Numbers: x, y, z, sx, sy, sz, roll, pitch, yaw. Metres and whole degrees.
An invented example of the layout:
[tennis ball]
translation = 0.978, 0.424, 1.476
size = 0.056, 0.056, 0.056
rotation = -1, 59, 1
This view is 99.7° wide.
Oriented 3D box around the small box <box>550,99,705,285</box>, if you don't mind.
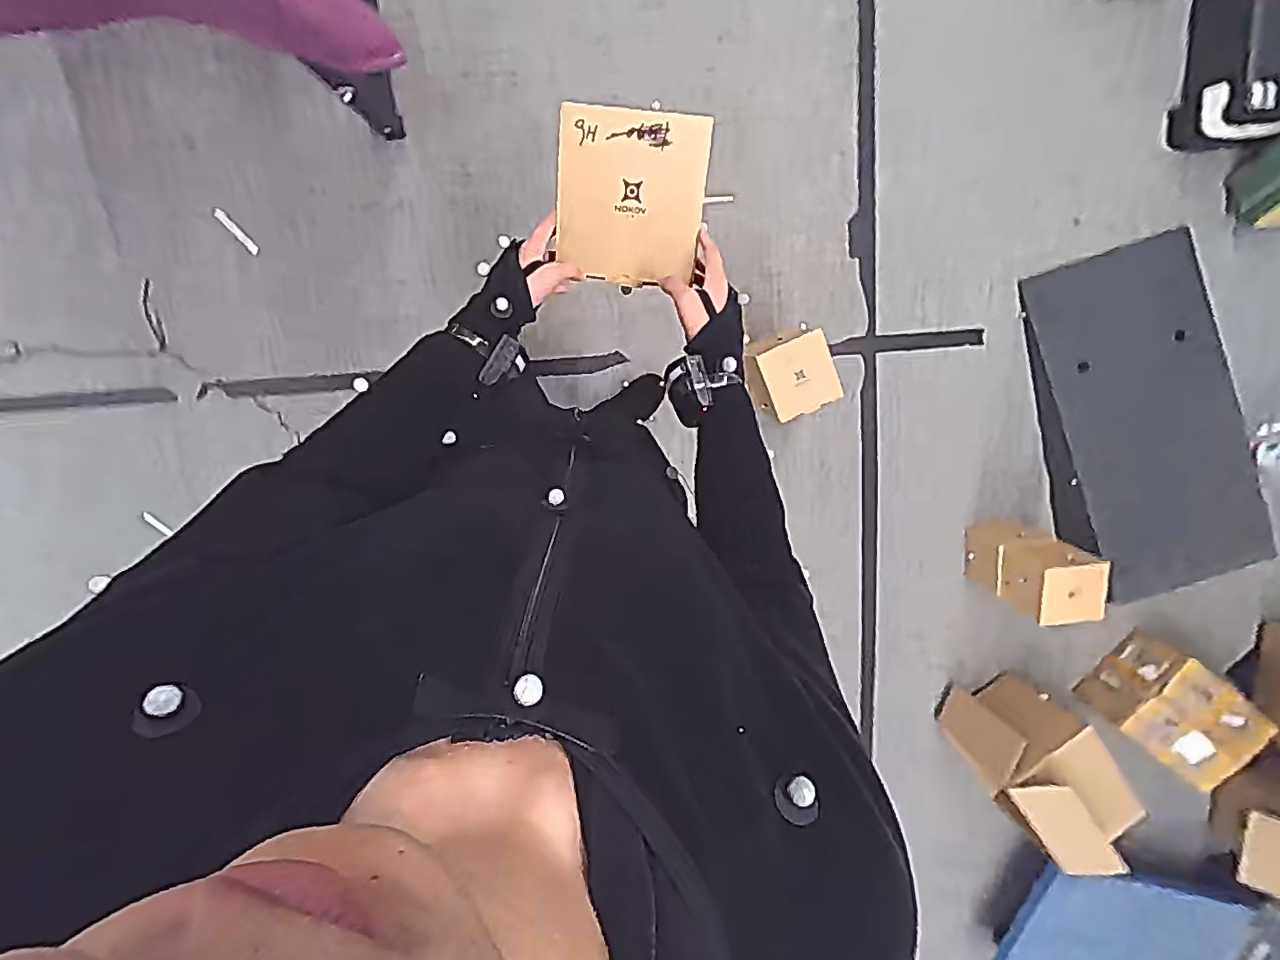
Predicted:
[small box]
translation = -0.015, -0.349, 0.681
size = 0.168, 0.176, 0.179
rotation = 5, 112, 0
